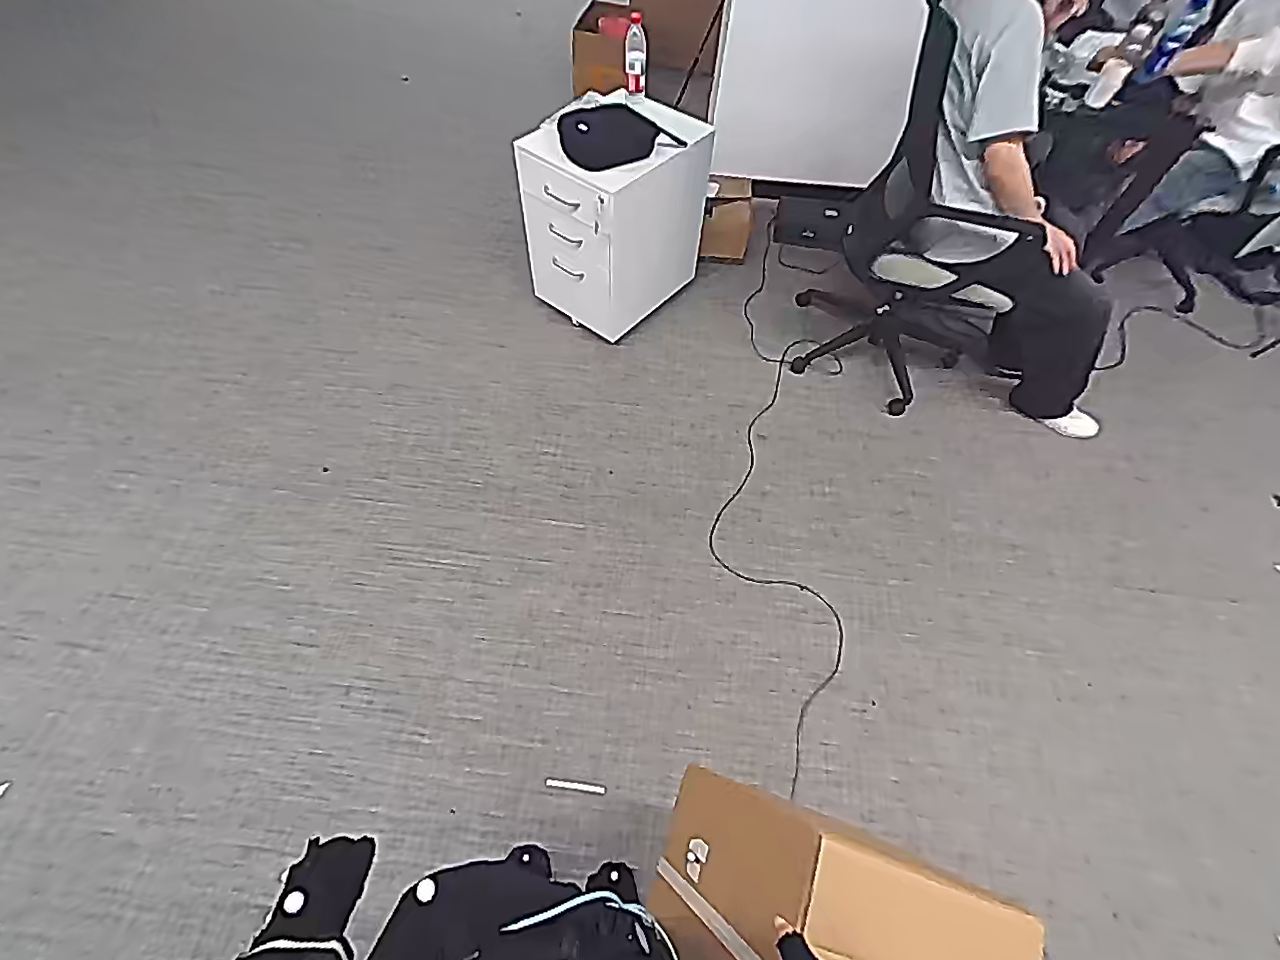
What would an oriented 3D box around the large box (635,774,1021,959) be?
[{"bbox_3d":[0.226,0.653,0.747,0.320,0.408,0.320,25,68,-7],"label":"large box"}]
